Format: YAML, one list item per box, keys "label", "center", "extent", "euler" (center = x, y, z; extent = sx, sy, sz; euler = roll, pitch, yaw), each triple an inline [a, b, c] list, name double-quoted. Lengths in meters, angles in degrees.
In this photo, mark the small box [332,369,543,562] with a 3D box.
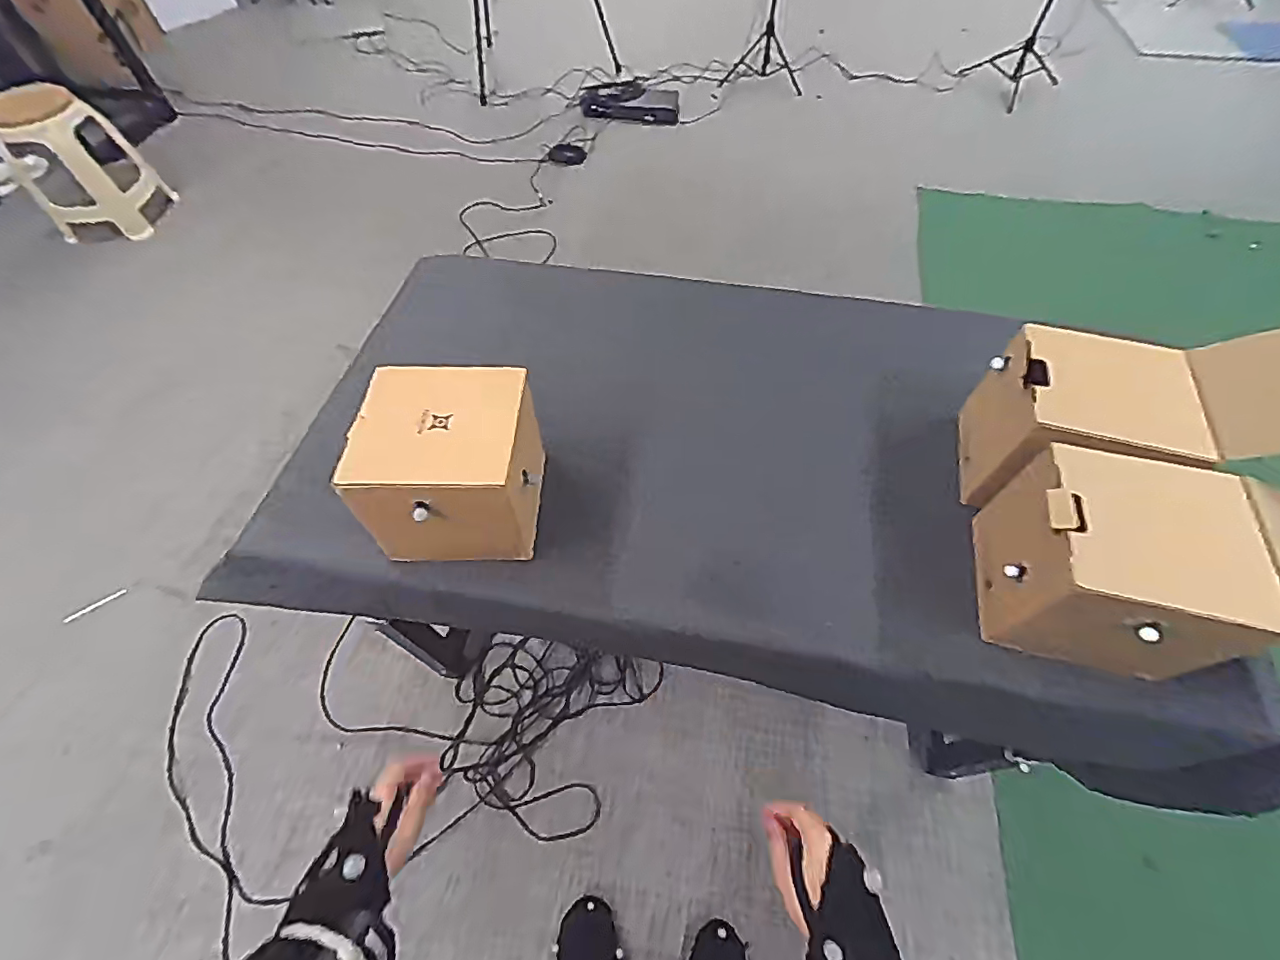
- label: "small box"
  center: [-0.217, -0.012, 0.642]
  extent: [0.179, 0.176, 0.168]
  euler: [0, 55, 1]
